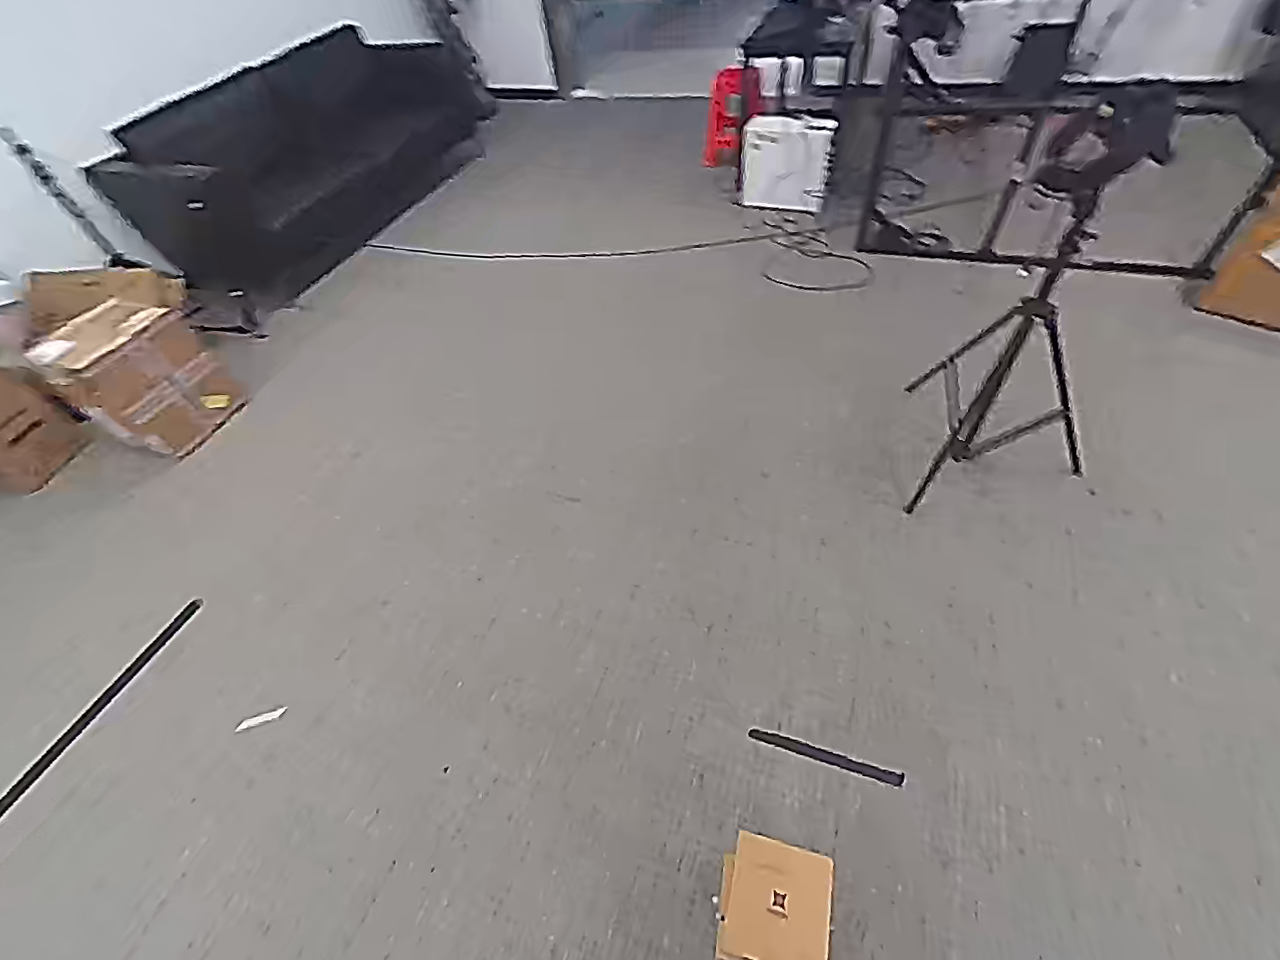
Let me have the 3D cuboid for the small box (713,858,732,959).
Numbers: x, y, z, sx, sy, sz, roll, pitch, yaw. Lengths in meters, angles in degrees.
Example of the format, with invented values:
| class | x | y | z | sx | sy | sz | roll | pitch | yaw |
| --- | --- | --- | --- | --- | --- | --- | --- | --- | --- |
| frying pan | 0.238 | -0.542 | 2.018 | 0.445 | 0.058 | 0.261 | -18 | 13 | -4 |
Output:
| class | x | y | z | sx | sy | sz | roll | pitch | yaw |
| --- | --- | --- | --- | --- | --- | --- | --- | --- | --- |
| small box | 0.244 | 0.875 | 1.070 | 0.179 | 0.176 | 0.168 | 6 | 50 | 14 |

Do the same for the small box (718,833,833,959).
| class | x | y | z | sx | sy | sz | roll | pitch | yaw |
| --- | --- | --- | --- | --- | --- | --- | --- | --- | --- |
| small box | 0.235 | 0.760 | 0.954 | 0.168 | 0.176 | 0.179 | 10 | 51 | 14 |
